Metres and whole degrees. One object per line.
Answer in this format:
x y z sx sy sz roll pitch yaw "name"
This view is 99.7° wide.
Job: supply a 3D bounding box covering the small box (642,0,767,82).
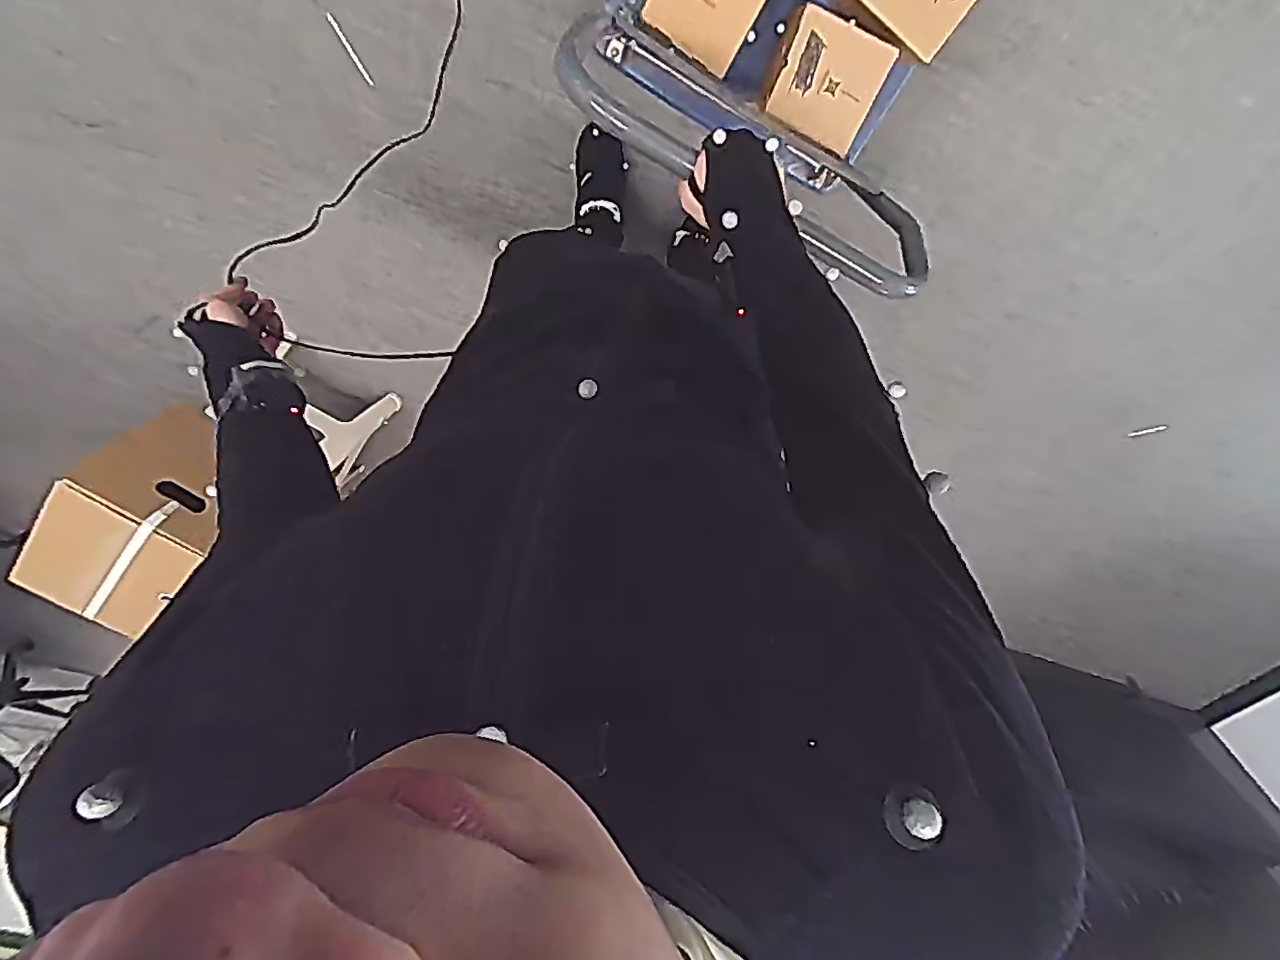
0.115 -0.826 0.925 0.168 0.176 0.179 26 124 -17 "small box"
